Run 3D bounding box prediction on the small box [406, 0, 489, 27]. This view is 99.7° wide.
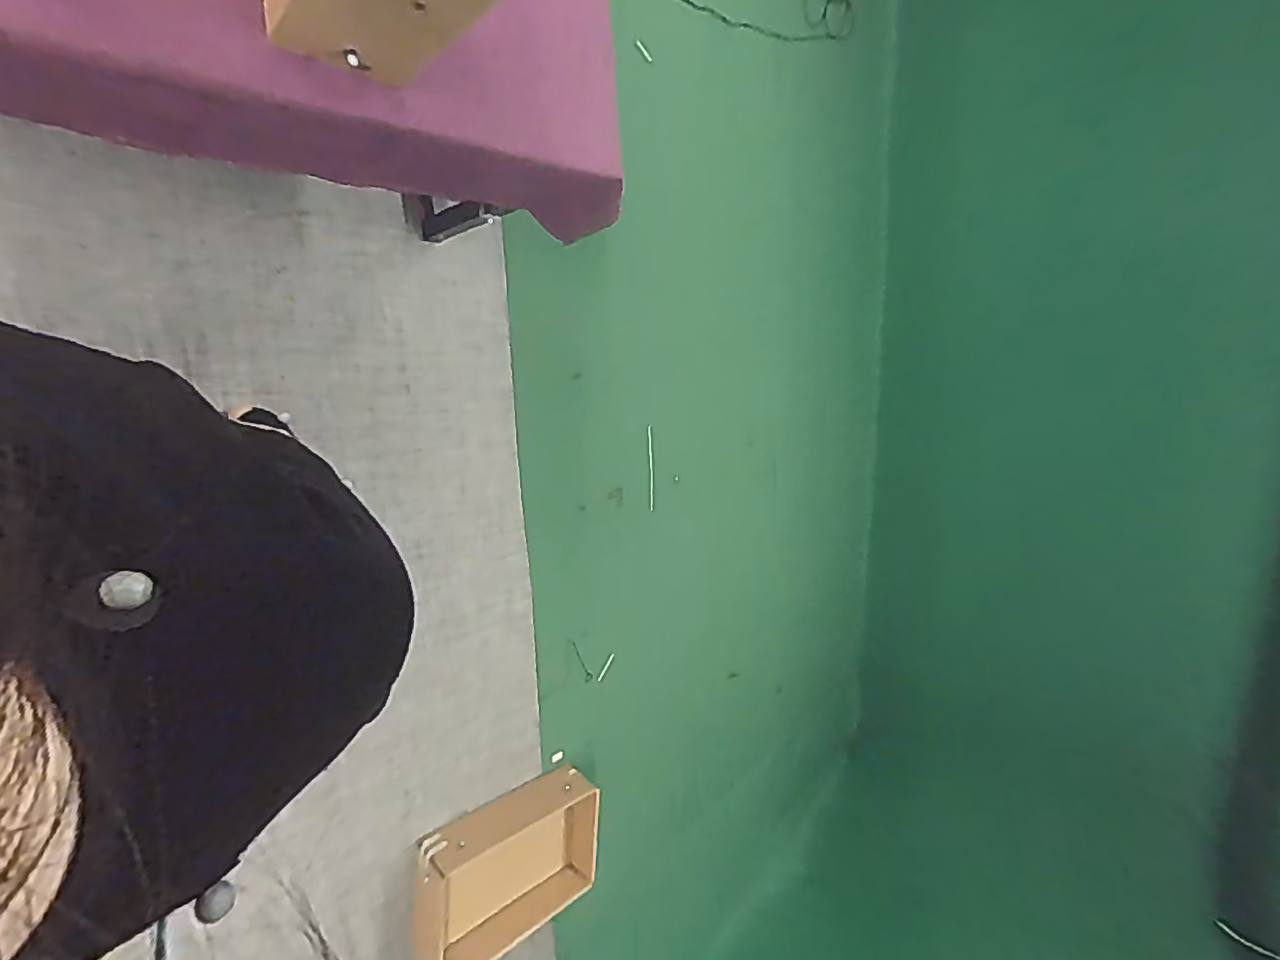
[{"bbox_3d":[-0.207,-0.588,0.510,0.168,0.176,0.179,-10,102,-45],"label":"small box"}]
